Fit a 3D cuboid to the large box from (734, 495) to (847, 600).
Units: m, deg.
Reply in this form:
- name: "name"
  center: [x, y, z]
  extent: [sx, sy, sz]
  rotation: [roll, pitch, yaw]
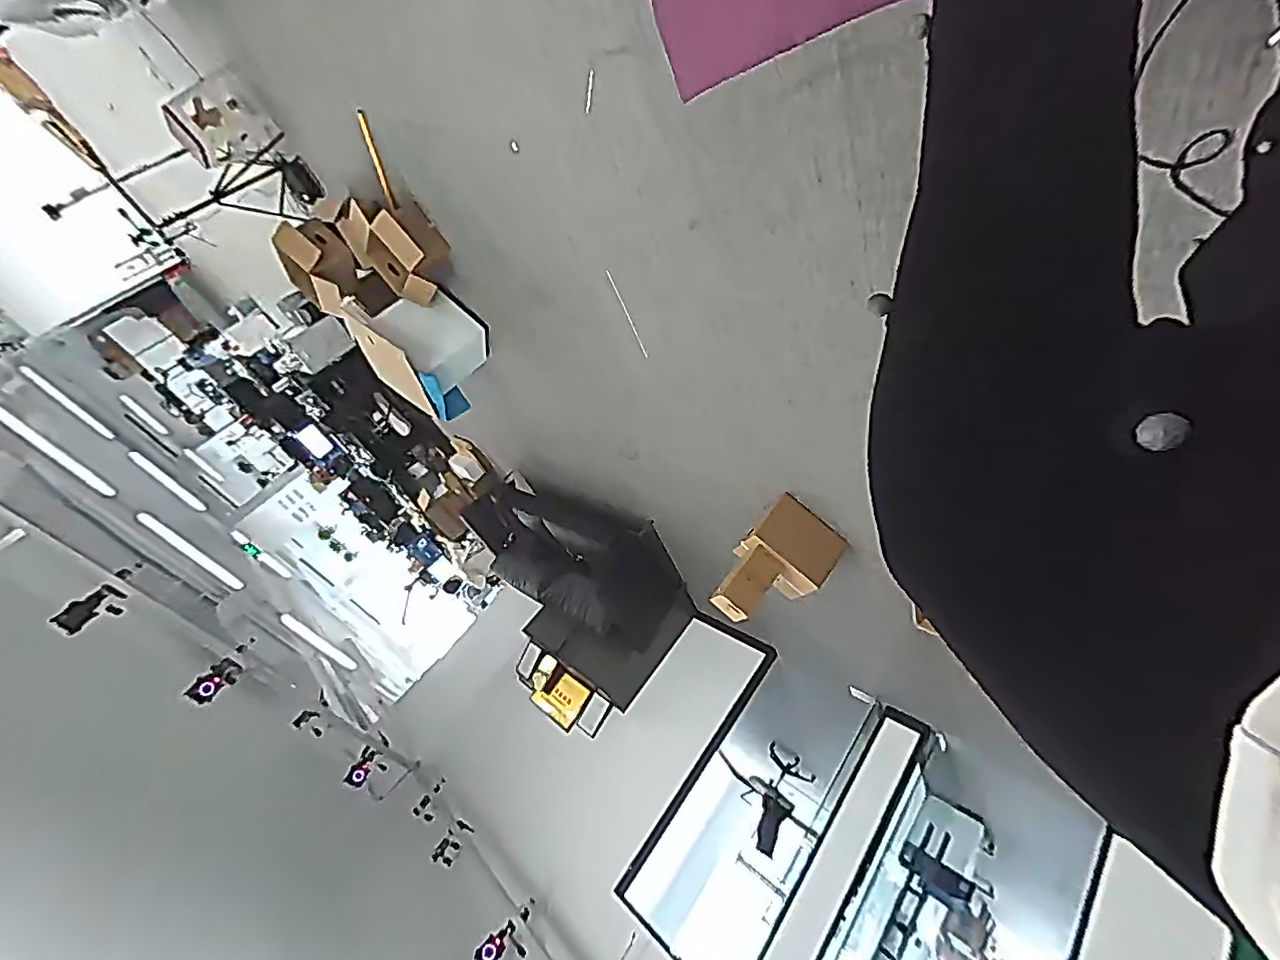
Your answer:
- name: "large box"
  center: [0.768, 0.351, 2.785]
  extent: [0.408, 0.320, 0.320]
  rotation: [39, 157, 6]

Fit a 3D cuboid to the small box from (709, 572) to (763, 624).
- name: "small box"
  center: [0.466, 0.564, 2.592]
  extent: [0.168, 0.176, 0.179]
  rotation: [41, 156, 5]
